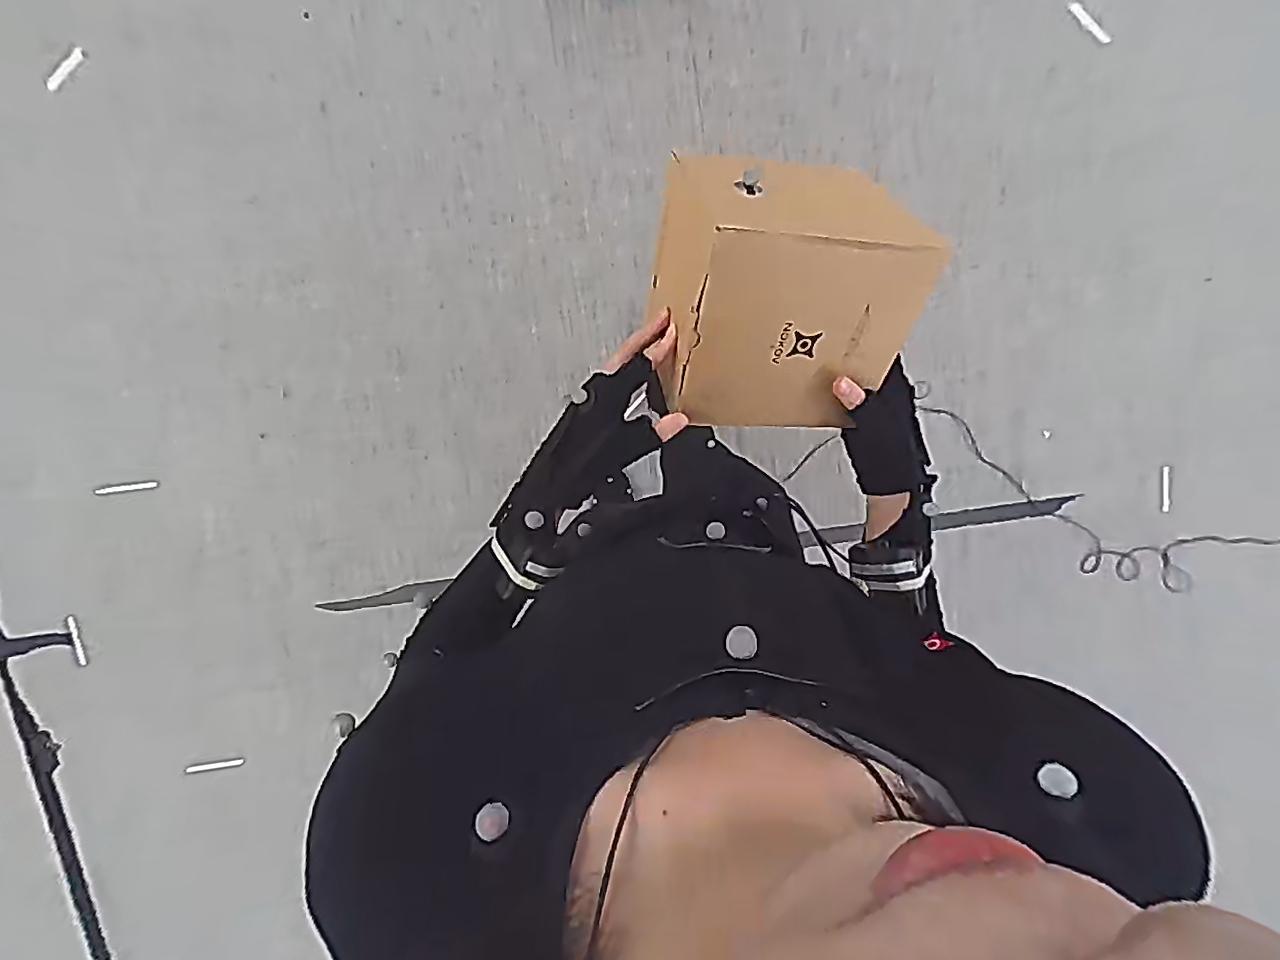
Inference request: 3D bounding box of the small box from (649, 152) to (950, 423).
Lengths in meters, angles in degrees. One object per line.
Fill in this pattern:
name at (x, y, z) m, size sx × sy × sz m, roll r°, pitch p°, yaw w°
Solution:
small box at (0.110, -0.166, 0.470) m, size 0.179 × 0.176 × 0.168 m, roll -2°, pitch 137°, yaw -11°
